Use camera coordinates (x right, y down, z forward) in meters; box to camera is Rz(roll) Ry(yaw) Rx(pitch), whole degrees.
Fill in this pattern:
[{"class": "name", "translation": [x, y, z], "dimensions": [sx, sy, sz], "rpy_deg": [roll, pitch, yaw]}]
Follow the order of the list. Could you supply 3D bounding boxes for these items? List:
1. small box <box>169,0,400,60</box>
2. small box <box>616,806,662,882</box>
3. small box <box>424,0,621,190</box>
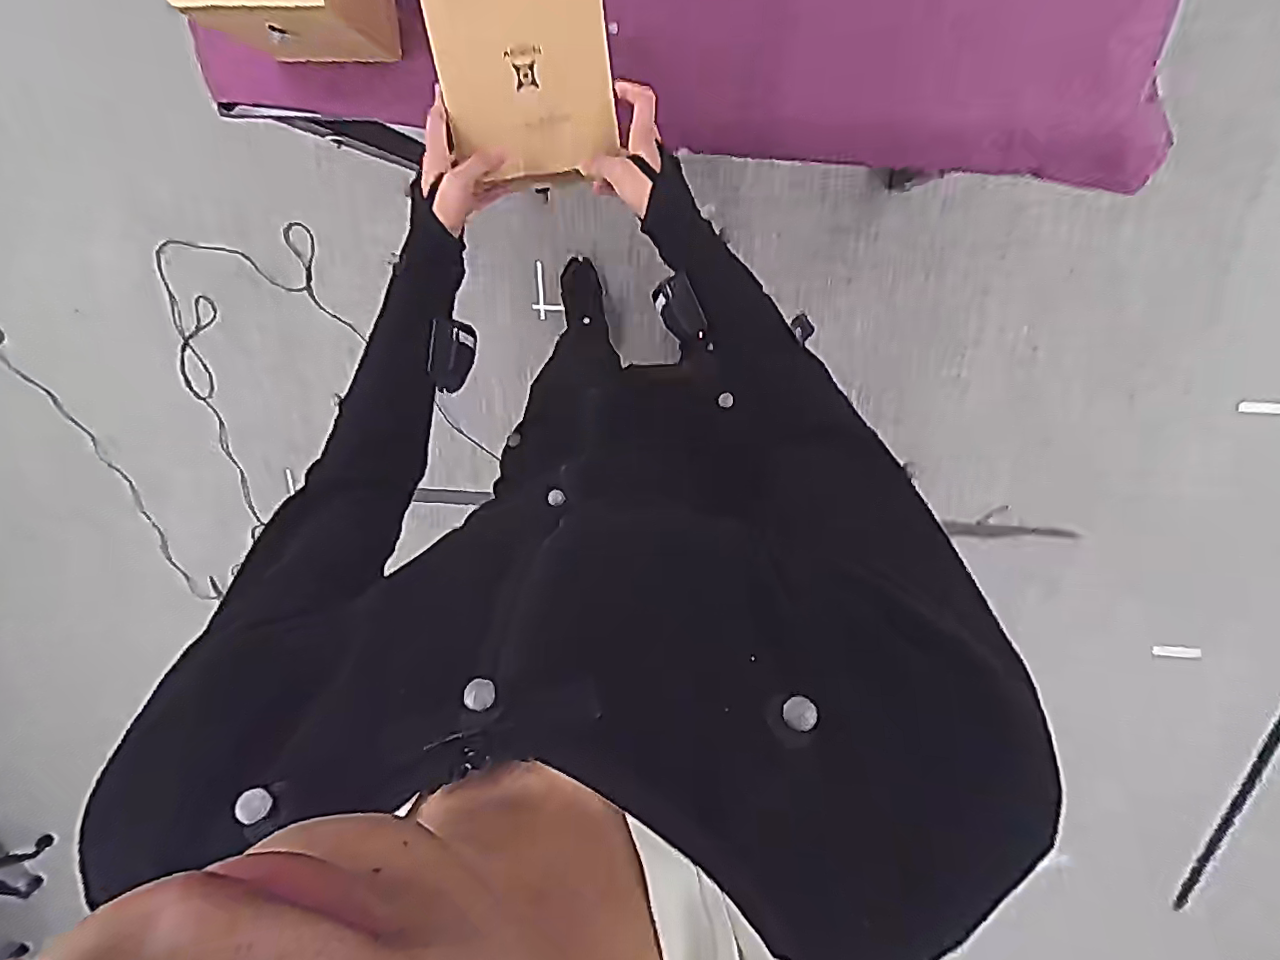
[{"class": "small box", "translation": [-0.405, -0.603, 0.613], "dimensions": [0.179, 0.176, 0.168], "rpy_deg": [3, 112, 4]}, {"class": "small box", "translation": [-0.003, 1.406, 2.093], "dimensions": [0.168, 0.176, 0.179], "rpy_deg": [2, 109, 3]}, {"class": "small box", "translation": [-0.115, -0.428, 0.587], "dimensions": [0.168, 0.176, 0.179], "rpy_deg": [-8, 115, 0]}]
